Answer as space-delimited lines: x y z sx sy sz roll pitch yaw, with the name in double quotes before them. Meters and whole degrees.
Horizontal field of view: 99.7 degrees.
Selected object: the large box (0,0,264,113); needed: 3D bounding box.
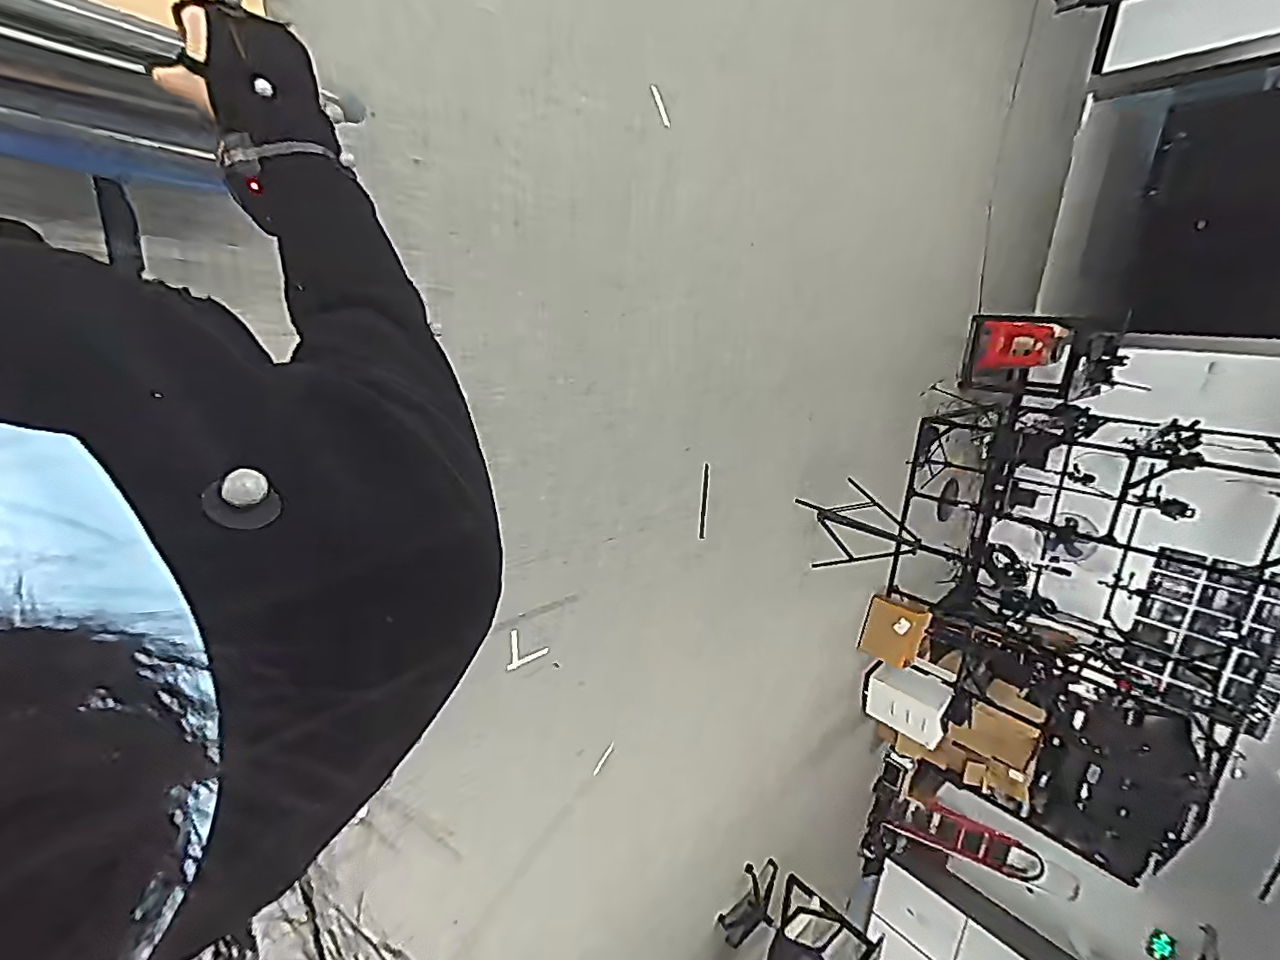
"large box" -0.782 -0.728 0.697 0.408 0.320 0.320 -15 115 -42
